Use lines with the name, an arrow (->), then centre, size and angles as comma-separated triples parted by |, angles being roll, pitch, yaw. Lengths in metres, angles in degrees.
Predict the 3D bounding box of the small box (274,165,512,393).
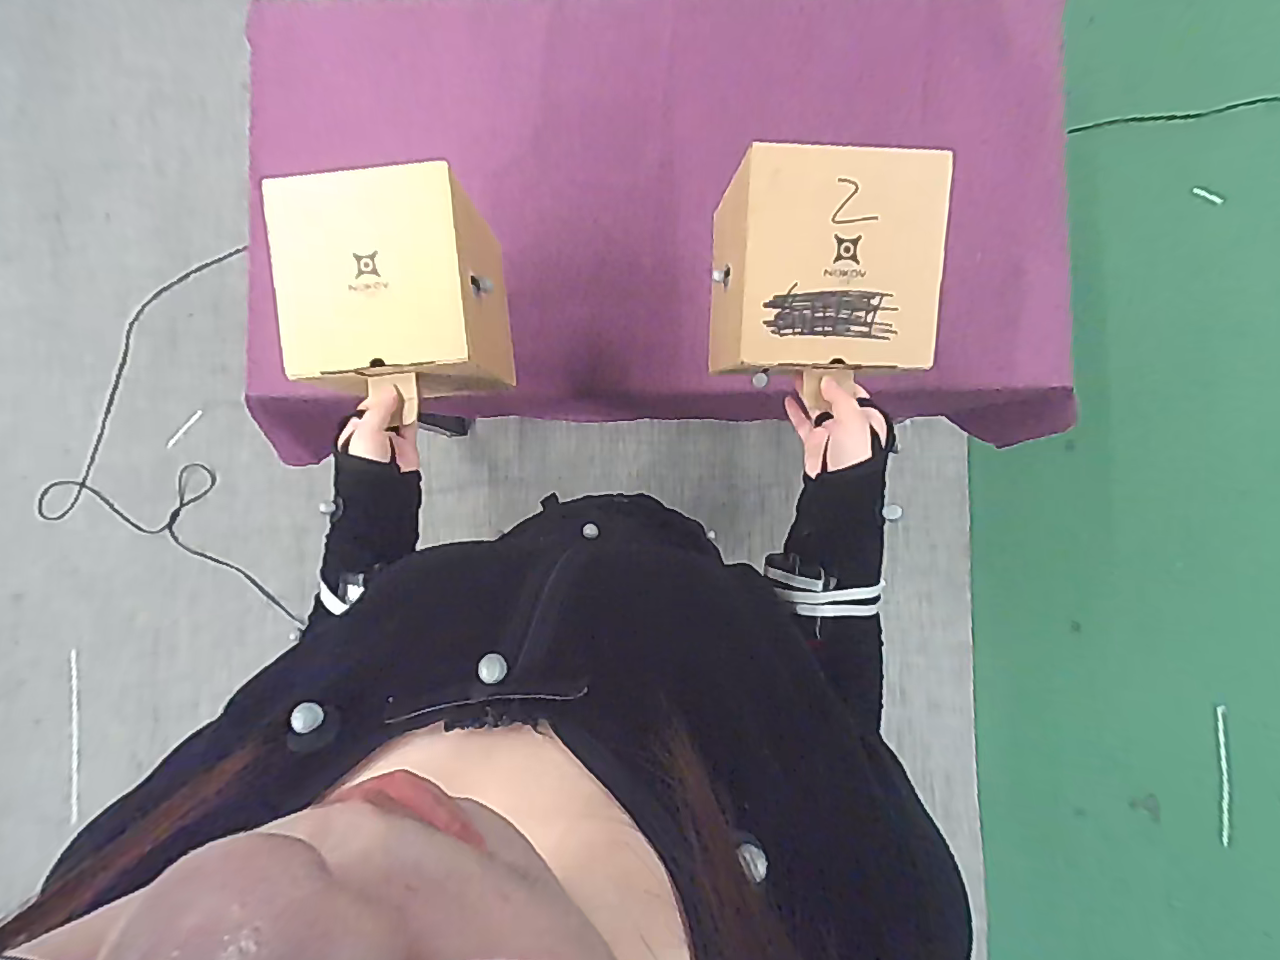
small box -> -0.241, -0.194, 0.568 | 0.168, 0.176, 0.179 | -6, 93, 1
